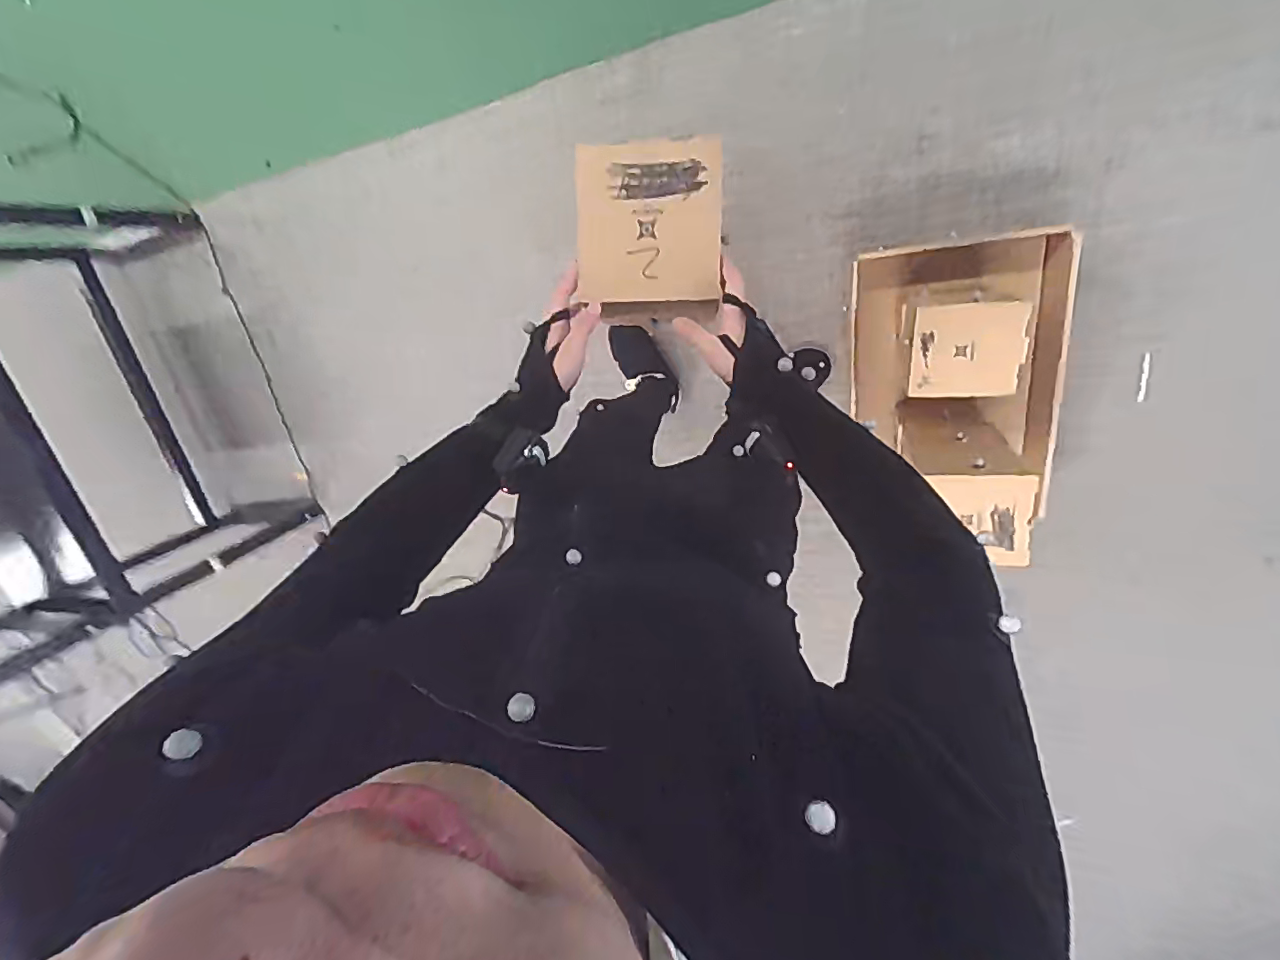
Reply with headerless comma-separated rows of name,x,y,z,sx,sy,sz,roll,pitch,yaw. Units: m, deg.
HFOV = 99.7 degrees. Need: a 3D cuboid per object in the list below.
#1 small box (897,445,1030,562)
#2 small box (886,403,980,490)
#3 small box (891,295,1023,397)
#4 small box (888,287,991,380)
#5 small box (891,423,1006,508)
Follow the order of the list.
small box,0.580,0.036,0.994,0.179,0.176,0.168,0,110,20
small box,0.683,-0.079,1.282,0.179,0.176,0.168,-2,111,20
small box,0.597,-0.261,1.042,0.179,0.176,0.168,3,113,18
small box,0.646,-0.321,1.188,0.179,0.176,0.168,-2,113,20
small box,0.636,-0.021,1.137,0.179,0.176,0.168,1,110,20
